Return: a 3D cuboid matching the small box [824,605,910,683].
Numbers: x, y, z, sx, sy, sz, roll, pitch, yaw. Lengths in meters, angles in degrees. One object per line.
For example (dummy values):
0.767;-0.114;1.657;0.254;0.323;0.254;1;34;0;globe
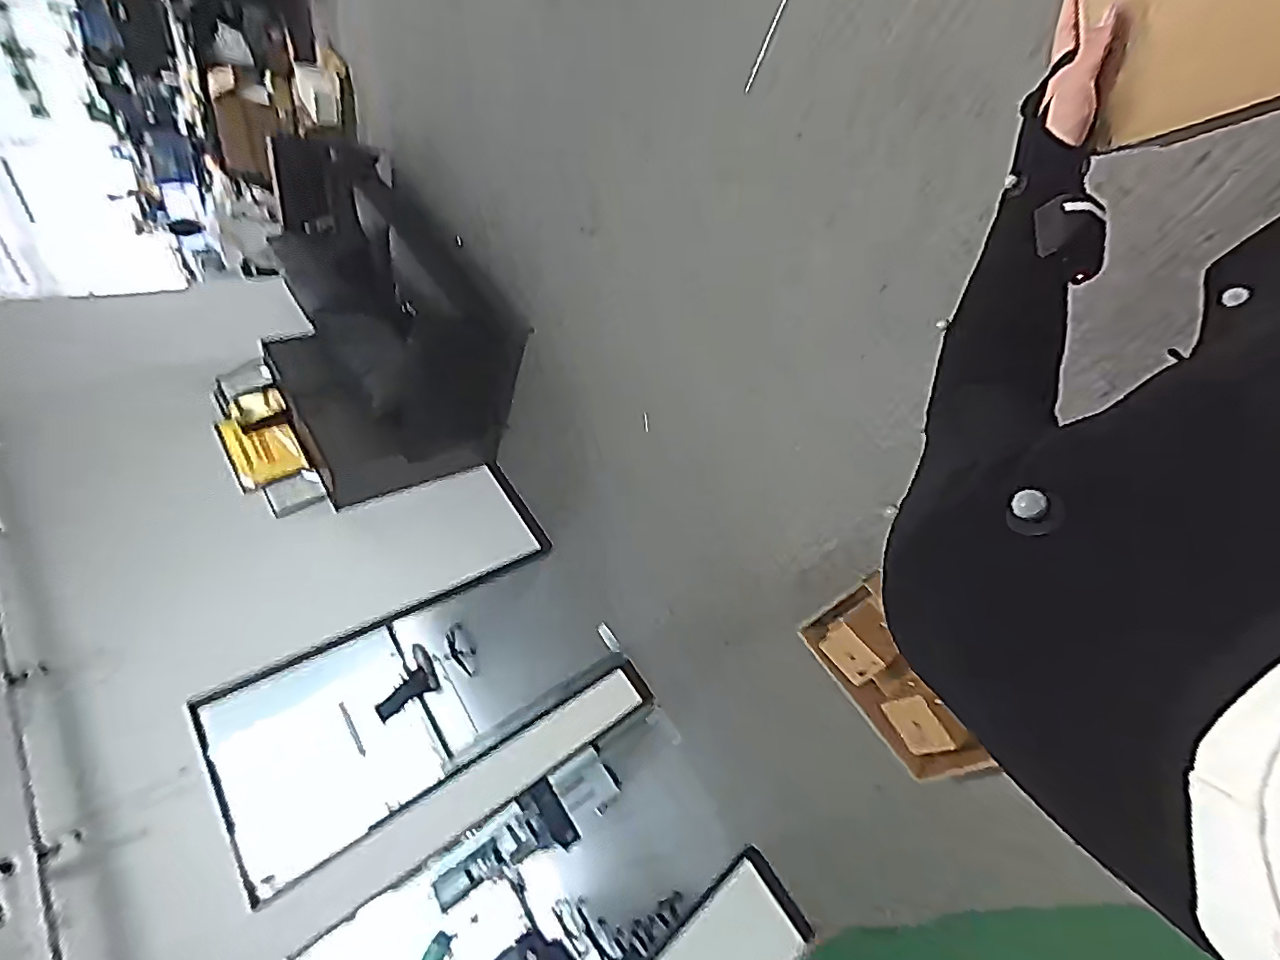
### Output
0.779;0.553;1.853;0.179;0.176;0.168;48;139;24;small box
